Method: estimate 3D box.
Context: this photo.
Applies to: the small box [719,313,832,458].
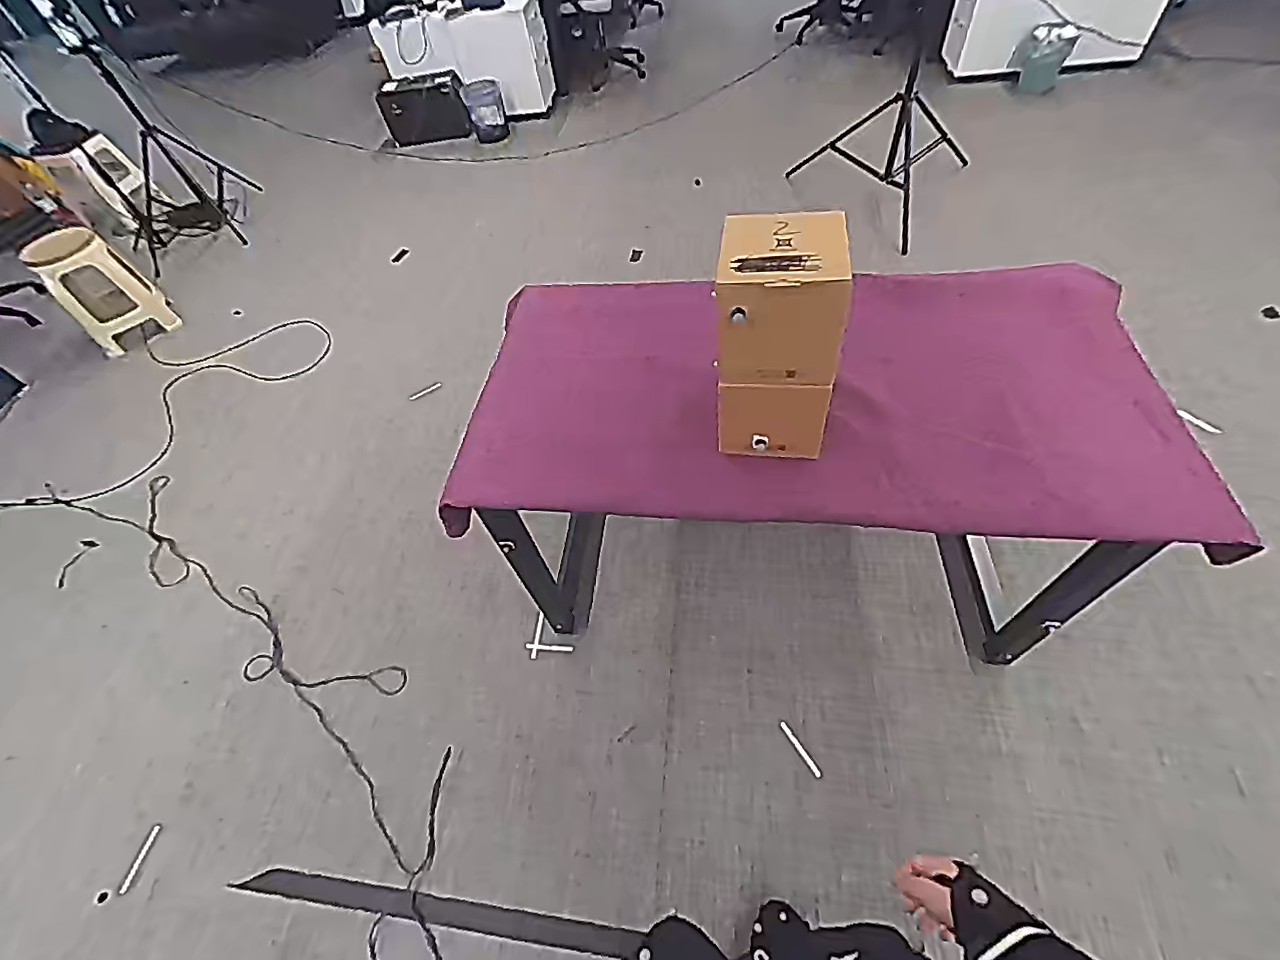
[{"bbox_3d":[0.221,-0.159,0.907,0.168,0.176,0.179,3,54,11],"label":"small box"}]
